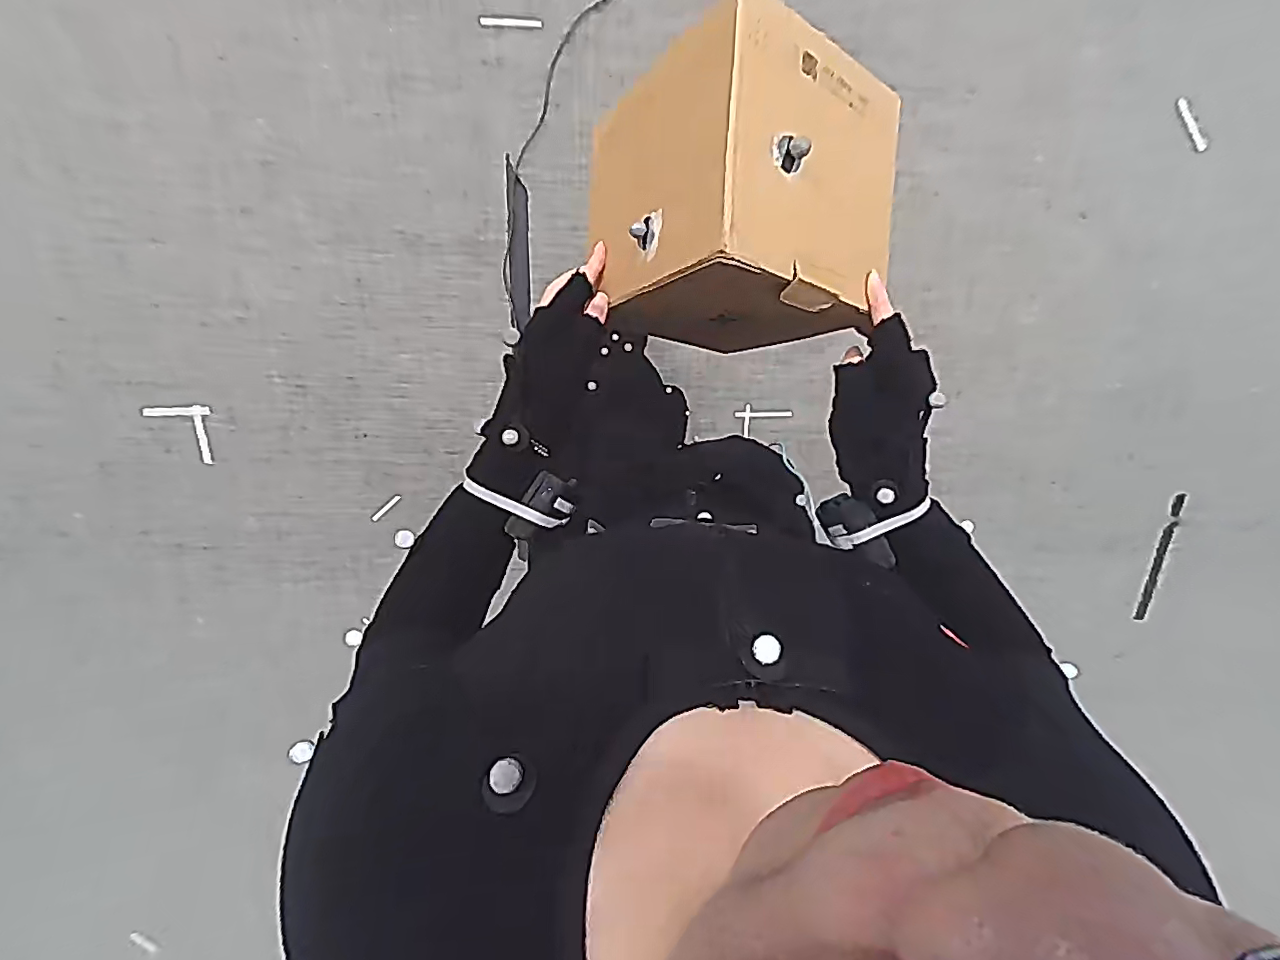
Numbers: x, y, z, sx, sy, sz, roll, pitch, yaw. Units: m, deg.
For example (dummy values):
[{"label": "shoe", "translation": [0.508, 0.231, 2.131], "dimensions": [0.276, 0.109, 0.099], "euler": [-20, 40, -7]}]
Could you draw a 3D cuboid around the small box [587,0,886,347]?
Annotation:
[{"label": "small box", "translation": [0.072, -0.217, 0.428], "dimensions": [0.168, 0.179, 0.176], "euler": [4, 90, -35]}]
